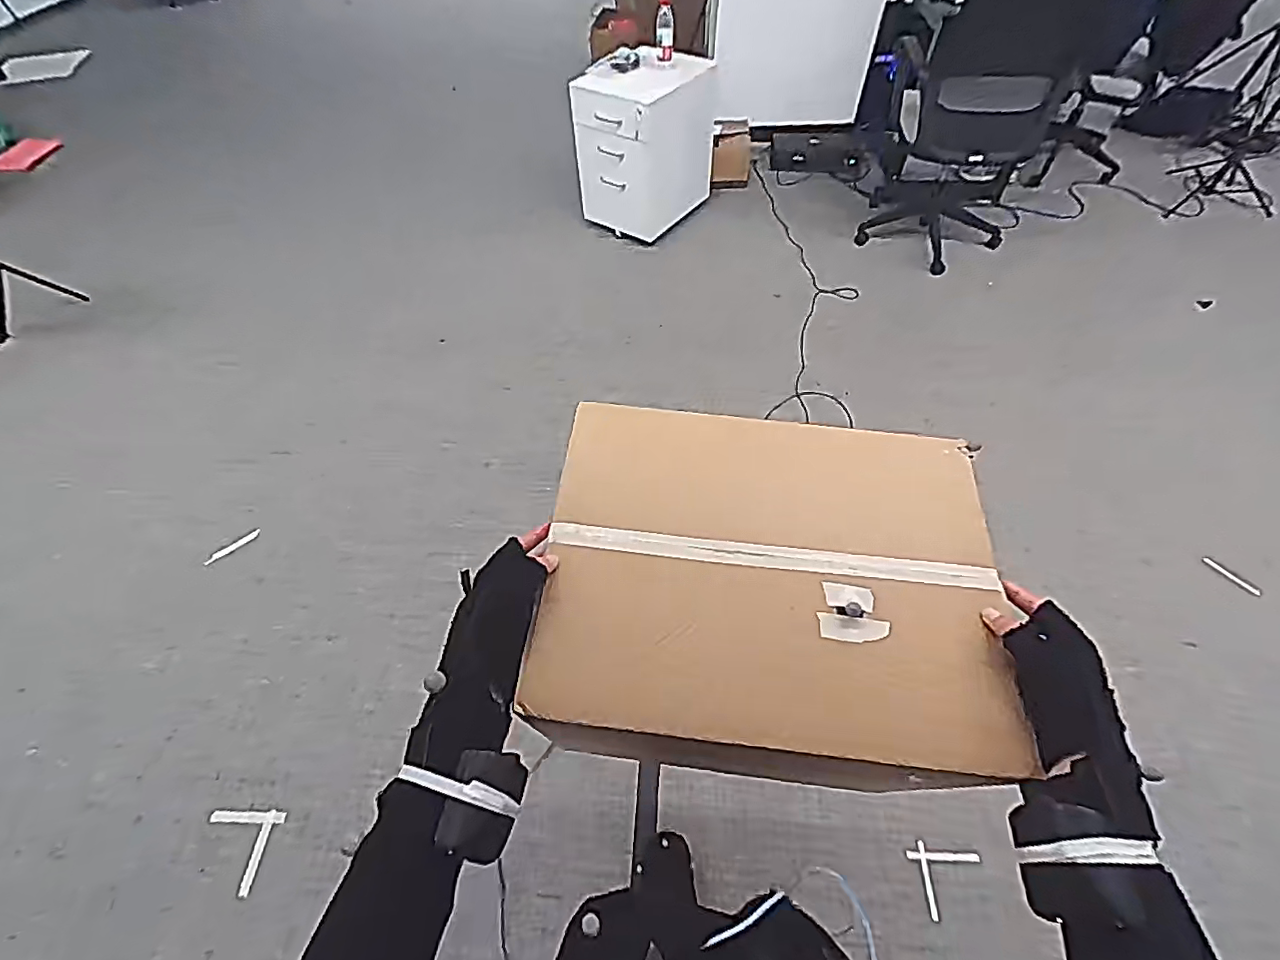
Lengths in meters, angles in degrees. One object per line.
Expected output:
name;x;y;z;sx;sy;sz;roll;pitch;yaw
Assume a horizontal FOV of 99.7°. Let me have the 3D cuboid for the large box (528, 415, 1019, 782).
large box;0.114;0.153;0.634;0.408;0.320;0.320;6;60;2
